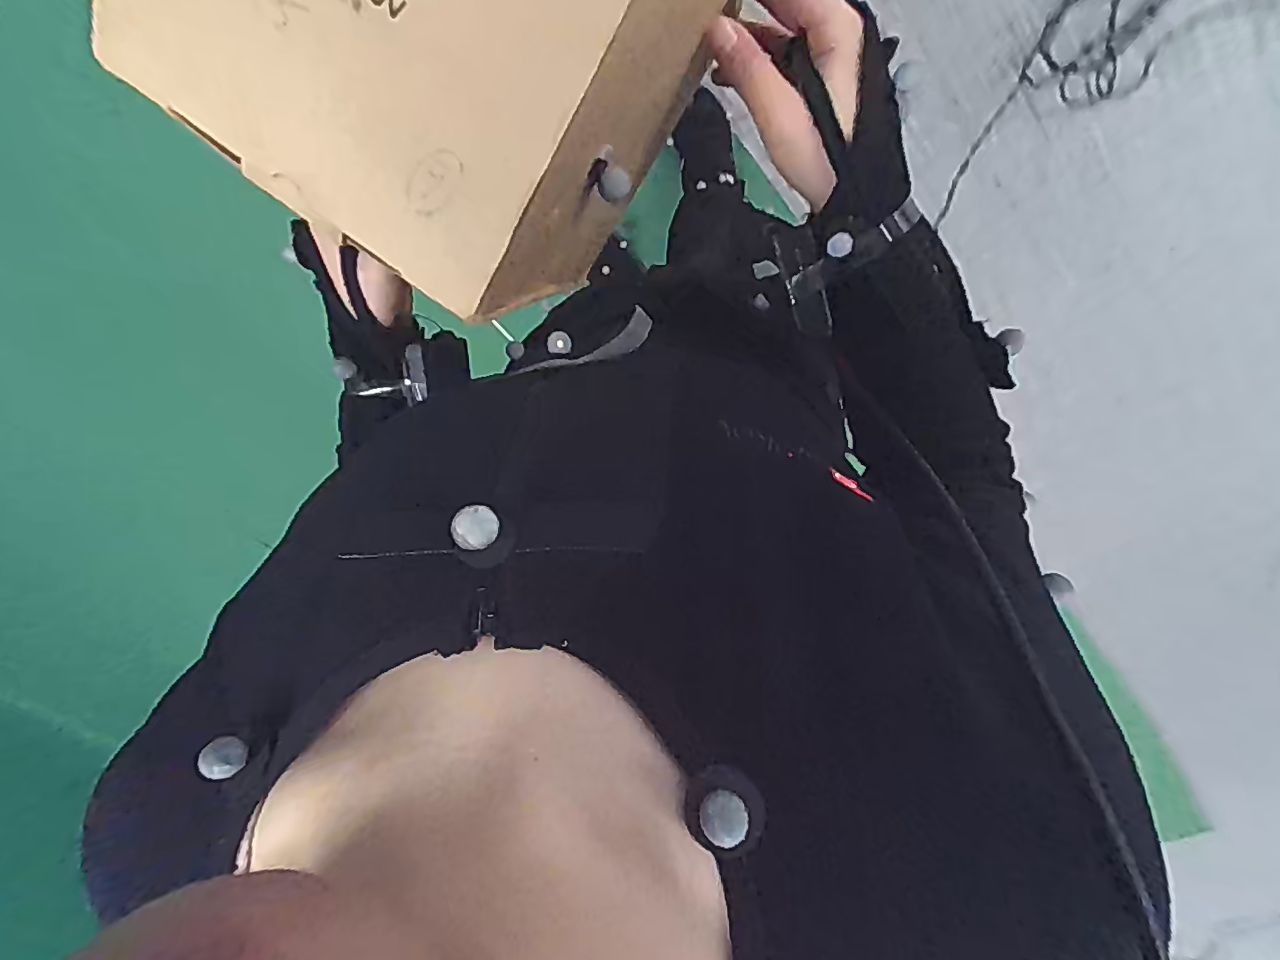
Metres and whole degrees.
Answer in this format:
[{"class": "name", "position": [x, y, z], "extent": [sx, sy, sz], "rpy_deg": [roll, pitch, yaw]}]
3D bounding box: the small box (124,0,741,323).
[{"class": "small box", "position": [-0.065, -0.202, 0.244], "extent": [0.168, 0.176, 0.179], "rpy_deg": [36, 116, -7]}]
